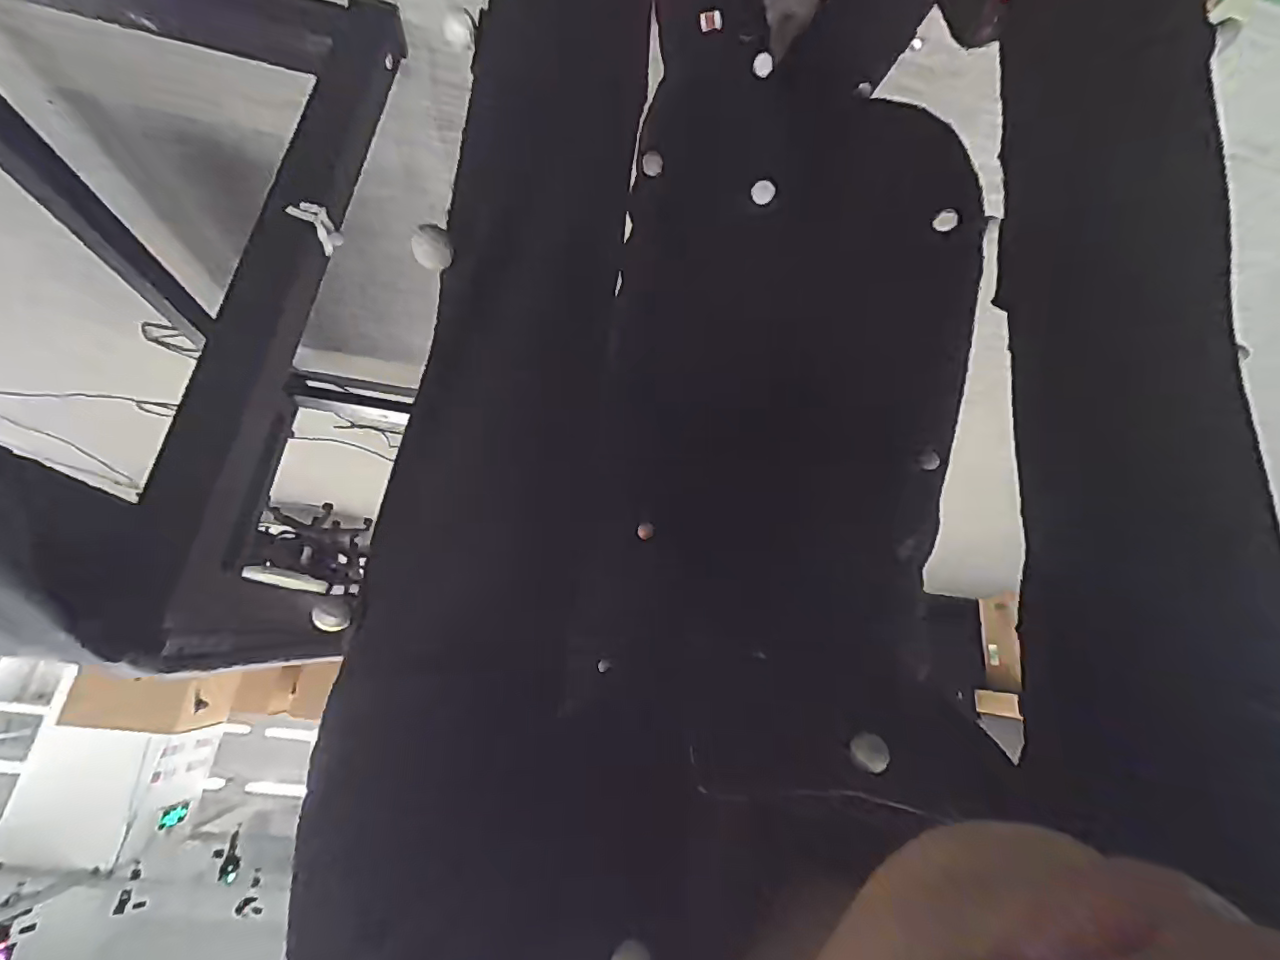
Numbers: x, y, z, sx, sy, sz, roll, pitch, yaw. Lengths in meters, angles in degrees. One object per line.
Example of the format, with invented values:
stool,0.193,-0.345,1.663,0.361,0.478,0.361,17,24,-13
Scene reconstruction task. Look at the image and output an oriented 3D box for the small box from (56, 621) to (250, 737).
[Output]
small box,-0.831,0.342,0.947,0.168,0.176,0.179,10,161,-10
